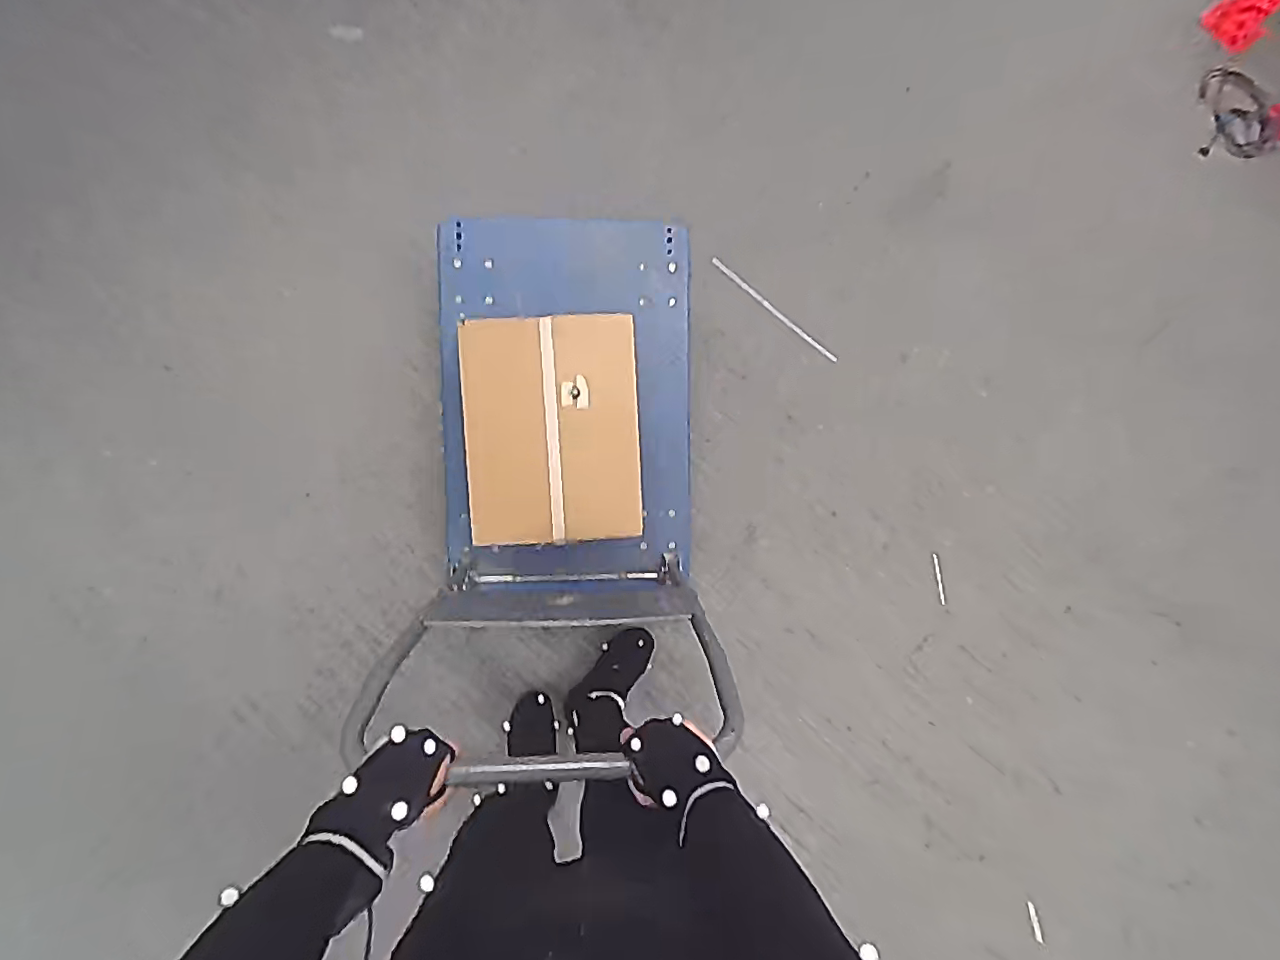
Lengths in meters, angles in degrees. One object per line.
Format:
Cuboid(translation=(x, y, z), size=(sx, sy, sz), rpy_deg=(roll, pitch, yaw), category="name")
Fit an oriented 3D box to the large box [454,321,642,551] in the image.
Cuboid(translation=(-0.172, -0.088, 1.127), size=(0.320, 0.320, 0.408), rpy_deg=(-4, 95, -4), category="large box")
